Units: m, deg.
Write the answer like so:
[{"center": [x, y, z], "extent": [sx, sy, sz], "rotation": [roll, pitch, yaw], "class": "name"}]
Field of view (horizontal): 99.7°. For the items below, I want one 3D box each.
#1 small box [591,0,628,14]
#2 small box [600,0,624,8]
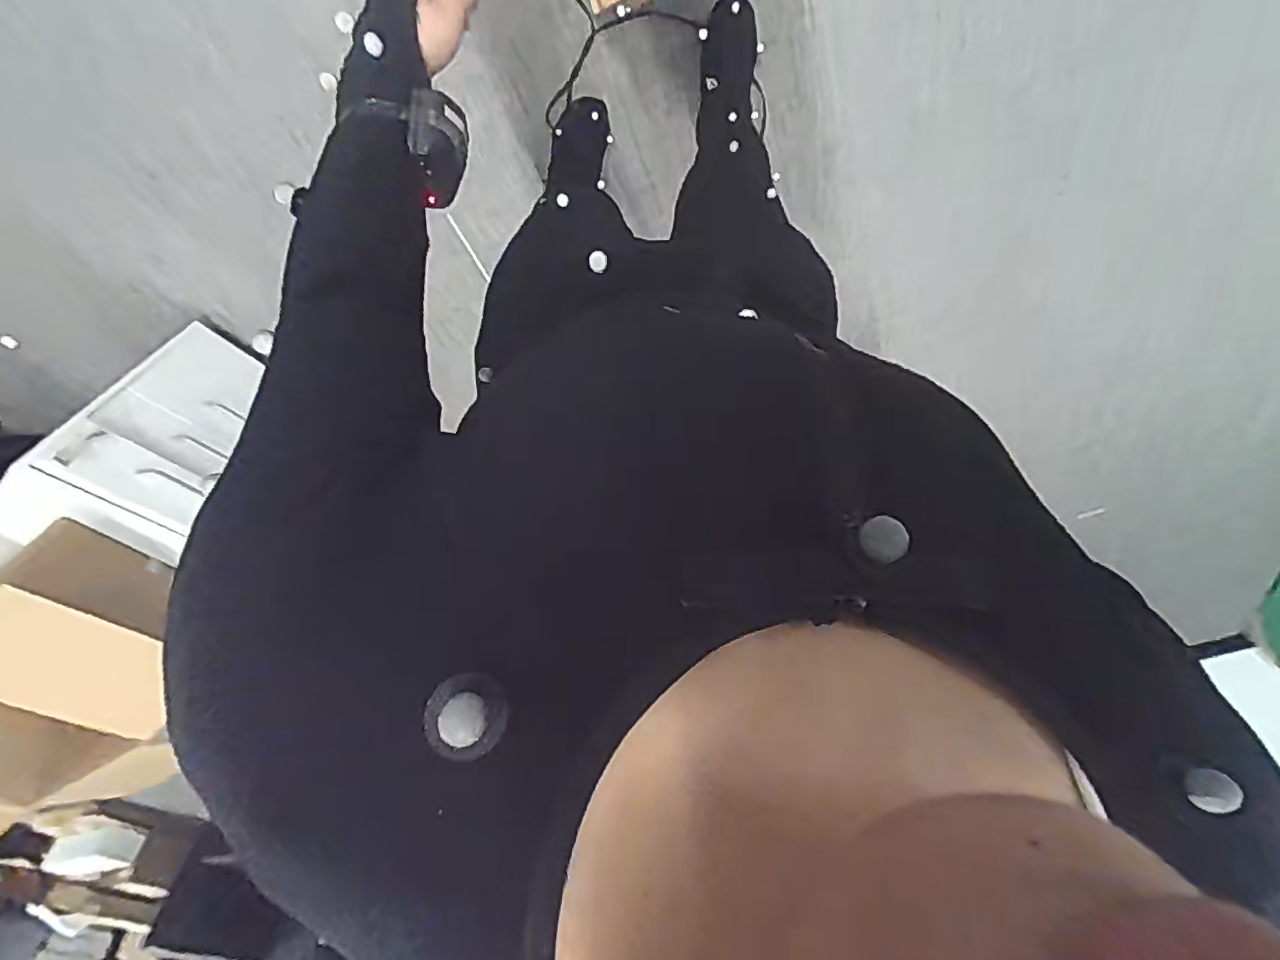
[{"center": [-0.030, -0.914, 0.894], "extent": [0.168, 0.176, 0.179], "rotation": [-18, 129, 9], "class": "small box"}, {"center": [-0.007, -0.811, 0.767], "extent": [0.168, 0.176, 0.179], "rotation": [-17, 129, 9], "class": "small box"}]
